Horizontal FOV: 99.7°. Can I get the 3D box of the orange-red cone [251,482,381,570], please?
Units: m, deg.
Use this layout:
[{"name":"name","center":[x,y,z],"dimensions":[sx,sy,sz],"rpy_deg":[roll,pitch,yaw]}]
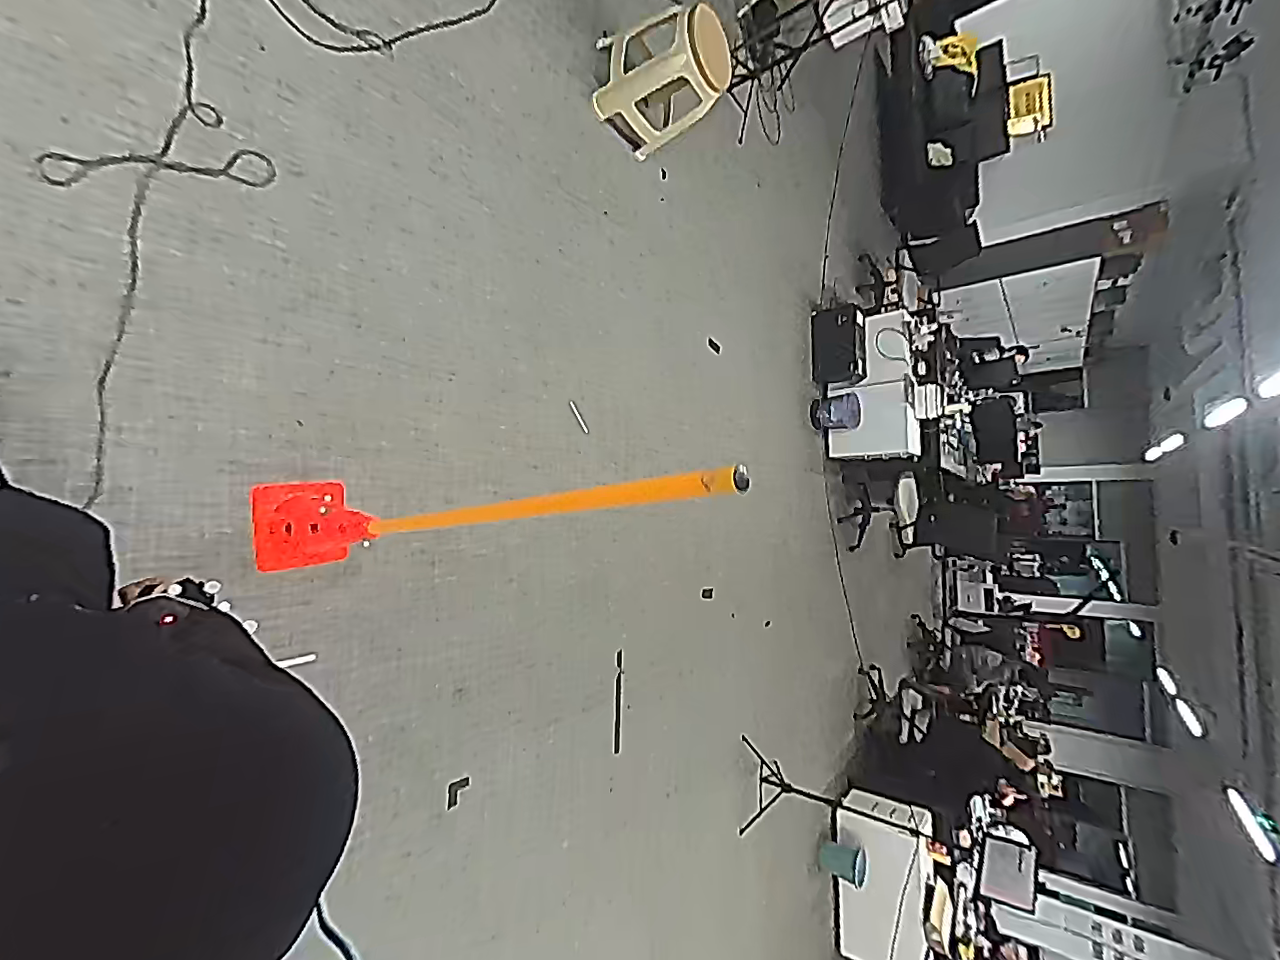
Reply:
[{"name":"orange-red cone","center":[-0.658,0.096,1.156],"dimensions":[0.199,0.360,0.198],"rpy_deg":[-3,90,-51]}]
